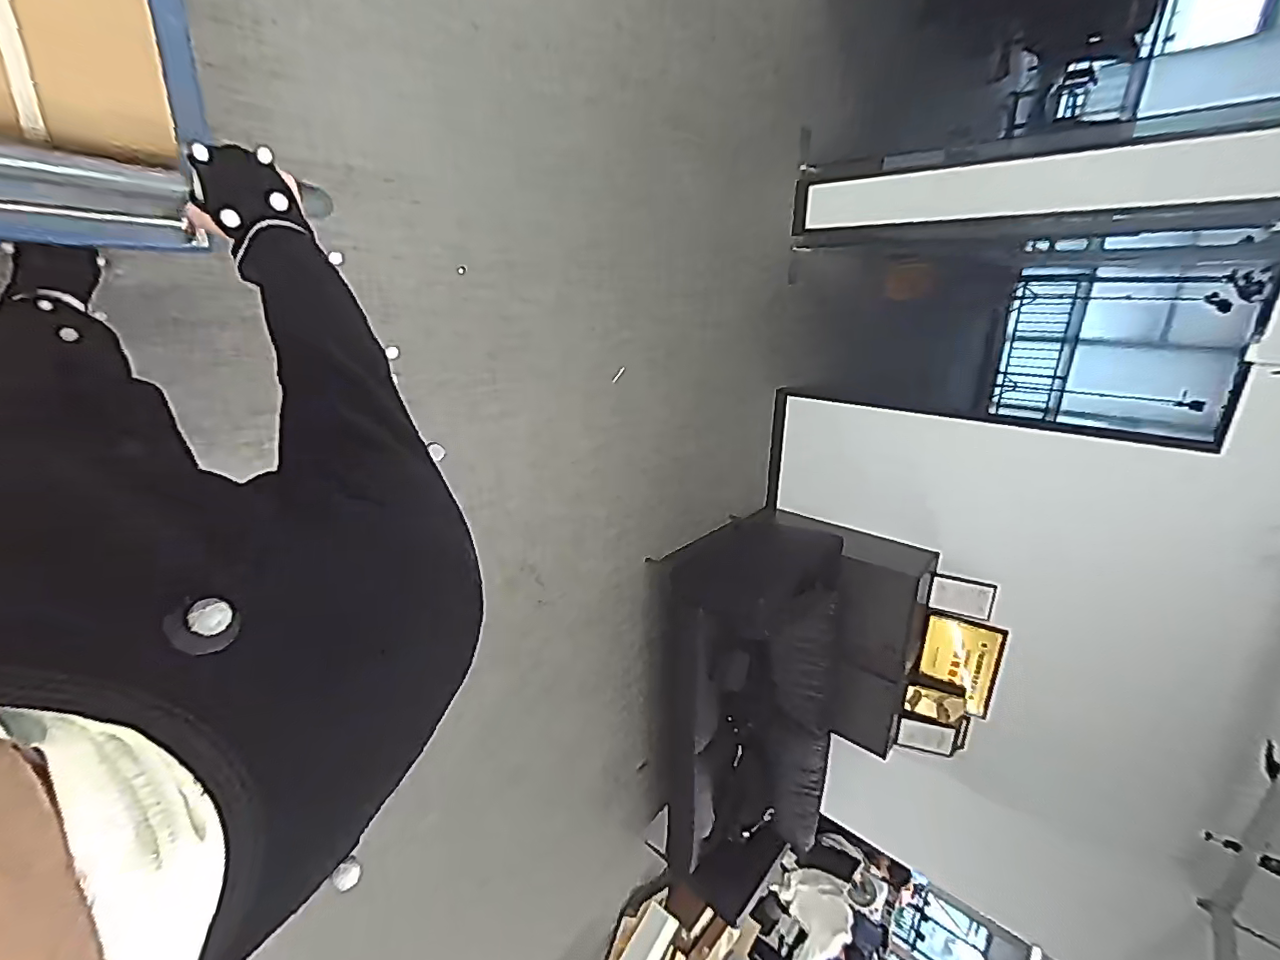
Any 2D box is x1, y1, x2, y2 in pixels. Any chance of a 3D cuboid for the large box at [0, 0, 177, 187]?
[{"bbox_3d":[-0.926,-0.673,0.761,0.320,0.320,0.408,-19,116,-46],"label":"large box"}]
